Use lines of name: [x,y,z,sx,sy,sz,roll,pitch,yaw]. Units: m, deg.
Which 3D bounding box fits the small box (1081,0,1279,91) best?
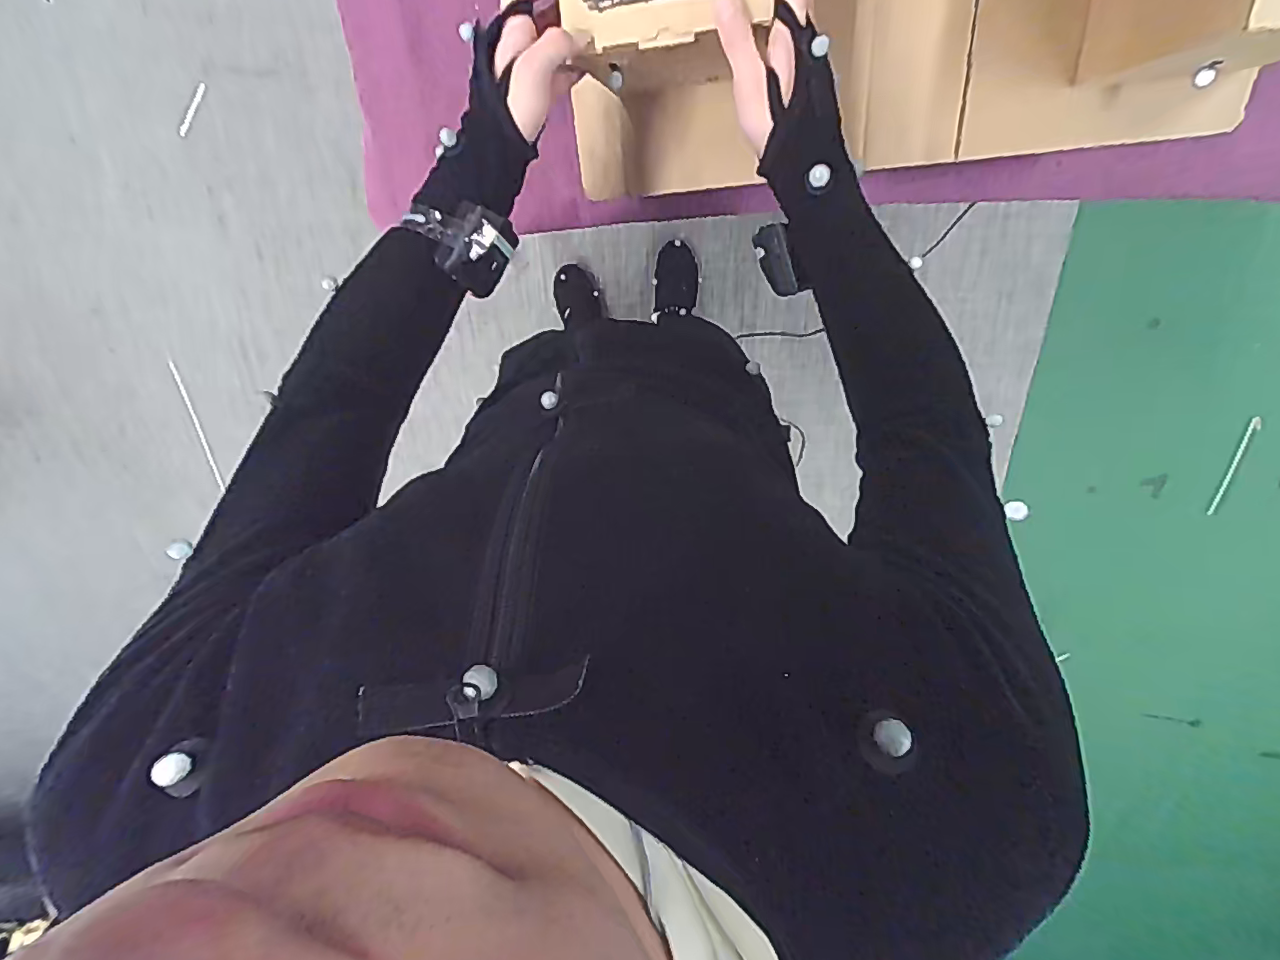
small box: [0.501,-0.436,0.424,0.168,0.176,0.179,-5,115,1]
